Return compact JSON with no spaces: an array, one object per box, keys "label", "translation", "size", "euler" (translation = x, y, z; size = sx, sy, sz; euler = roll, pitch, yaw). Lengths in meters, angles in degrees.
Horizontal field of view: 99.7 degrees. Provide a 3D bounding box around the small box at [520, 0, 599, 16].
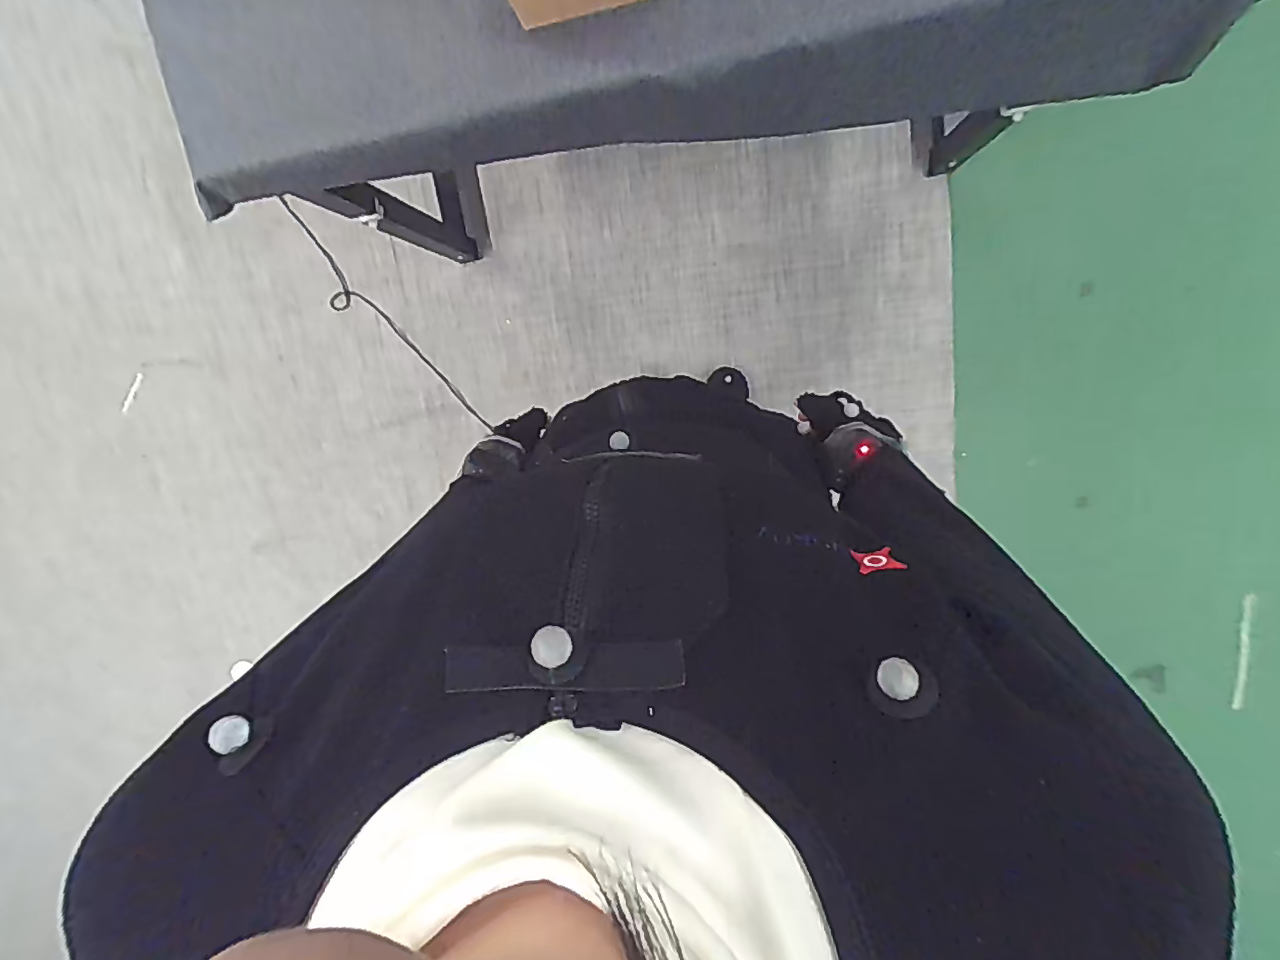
[{"label":"small box","translation":[-0.063,-0.582,0.494],"size":[0.179,0.176,0.168],"euler":[-7,101,10]}]
